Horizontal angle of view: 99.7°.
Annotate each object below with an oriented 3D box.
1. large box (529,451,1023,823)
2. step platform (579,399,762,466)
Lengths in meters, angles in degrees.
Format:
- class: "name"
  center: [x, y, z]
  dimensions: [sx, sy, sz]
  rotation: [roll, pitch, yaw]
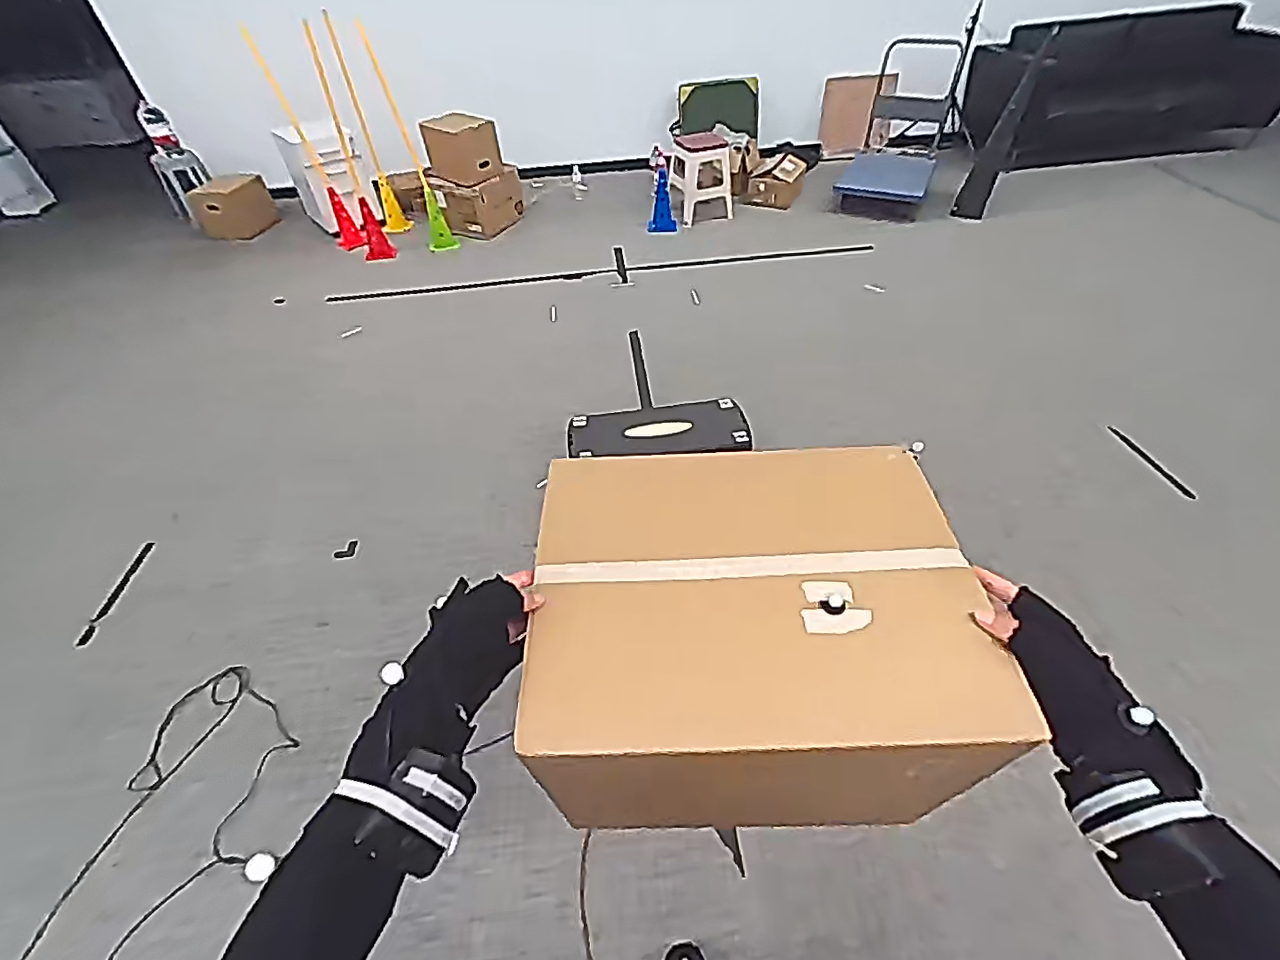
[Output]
- class: "large box"
  center: [0.107, 0.189, 0.635]
  dimensions: [0.408, 0.320, 0.320]
  rotation: [-2, 49, 1]
- class: "step platform"
  center: [0.110, -0.122, 2.061]
  dimensions: [0.684, 0.204, 0.286]
  rotation: [-8, 46, -5]
